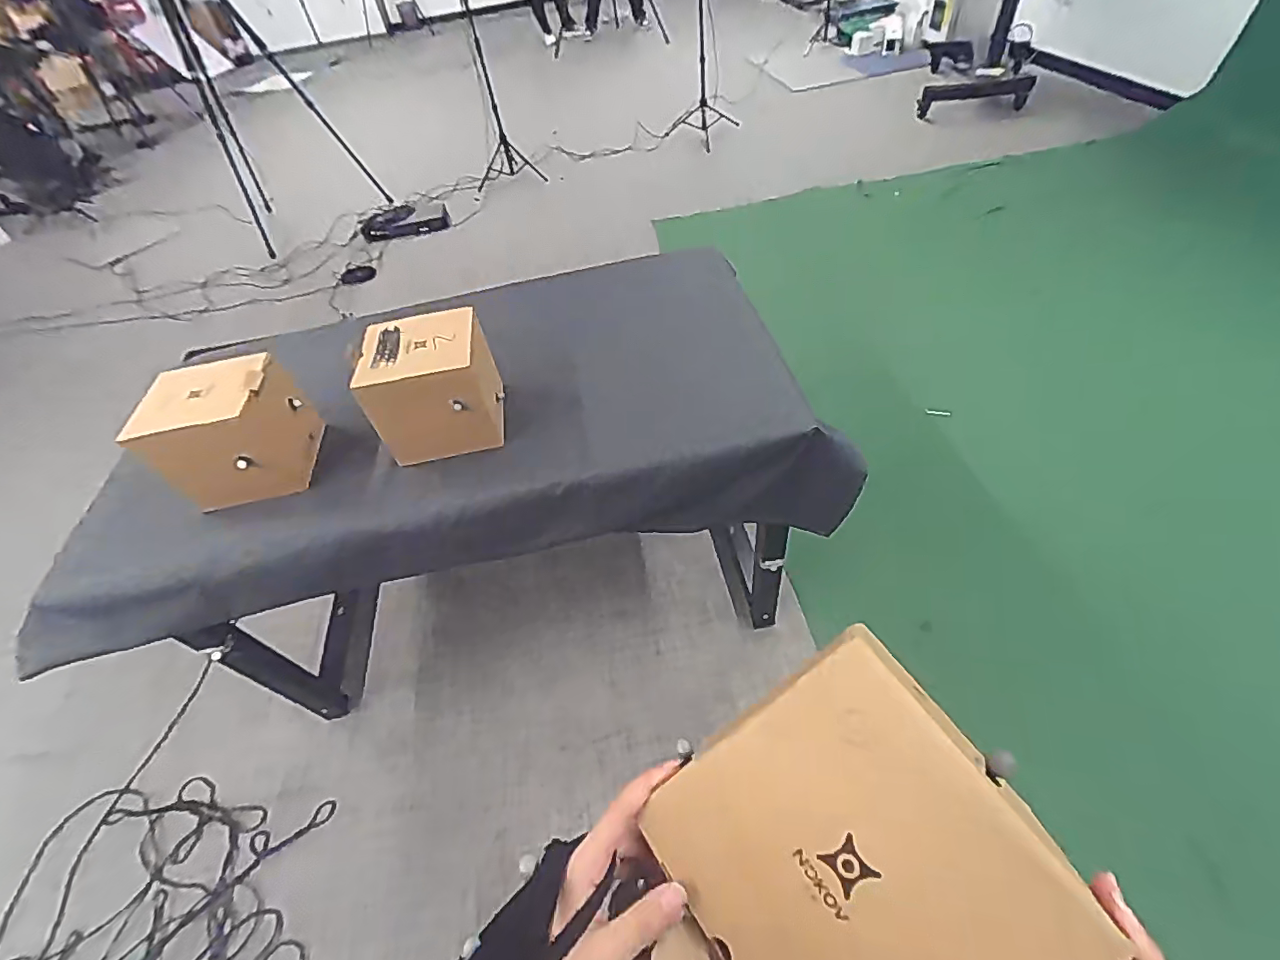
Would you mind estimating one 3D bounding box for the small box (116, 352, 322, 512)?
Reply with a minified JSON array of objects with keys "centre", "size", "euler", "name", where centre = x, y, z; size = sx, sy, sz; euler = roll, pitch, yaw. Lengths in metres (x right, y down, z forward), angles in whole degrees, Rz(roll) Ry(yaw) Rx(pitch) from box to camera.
[{"centre":[-0.647,-0.073,0.862],"size":[0.179,0.176,0.168],"euler":[-13,48,-2],"name":"small box"}]
